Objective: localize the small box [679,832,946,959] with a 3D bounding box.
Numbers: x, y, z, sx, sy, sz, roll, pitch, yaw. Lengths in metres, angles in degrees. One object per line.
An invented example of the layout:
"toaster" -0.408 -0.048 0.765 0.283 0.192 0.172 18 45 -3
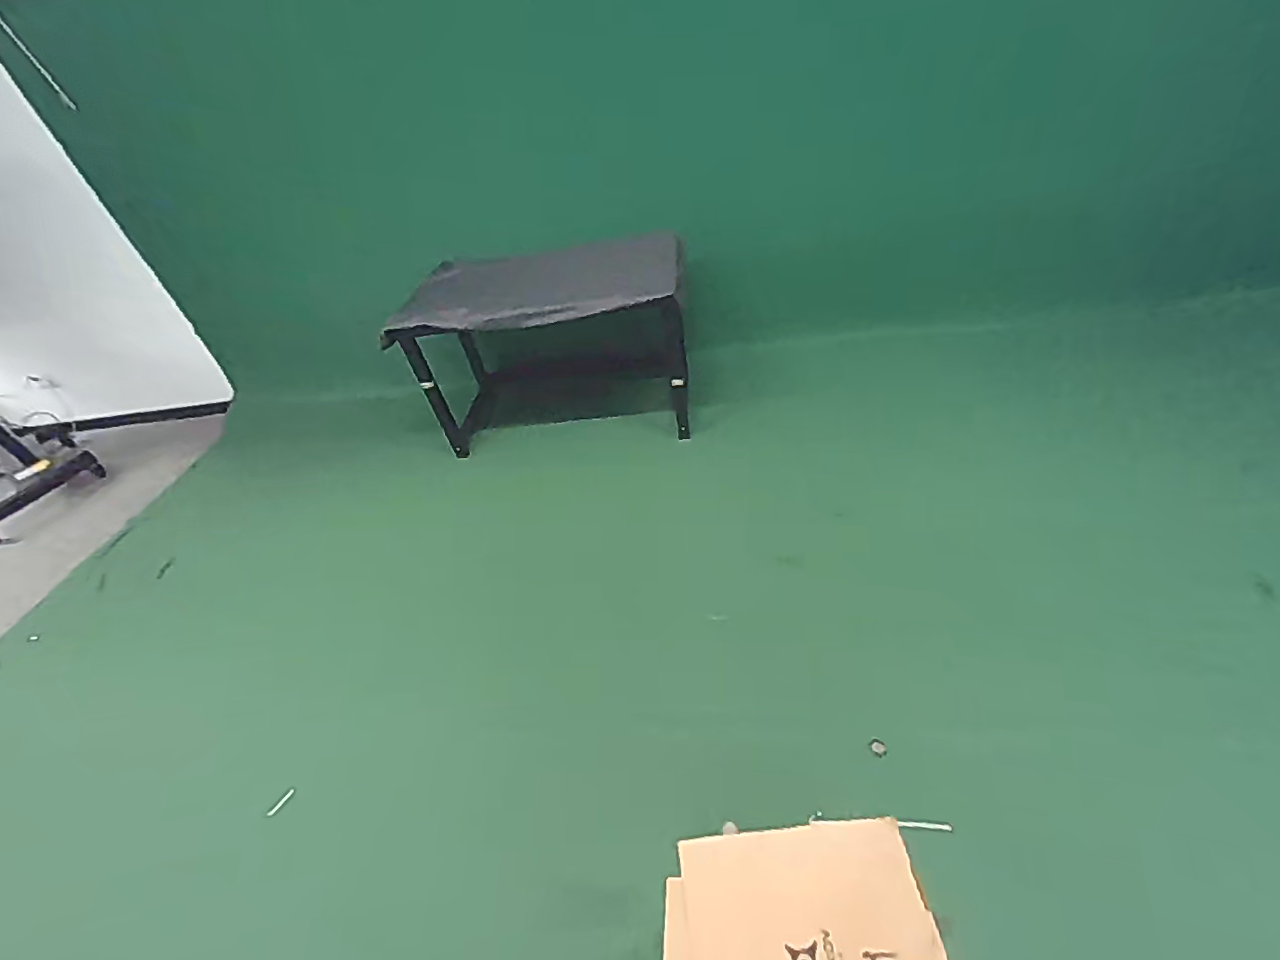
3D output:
"small box" 0.130 0.394 0.416 0.179 0.176 0.168 -7 44 2
